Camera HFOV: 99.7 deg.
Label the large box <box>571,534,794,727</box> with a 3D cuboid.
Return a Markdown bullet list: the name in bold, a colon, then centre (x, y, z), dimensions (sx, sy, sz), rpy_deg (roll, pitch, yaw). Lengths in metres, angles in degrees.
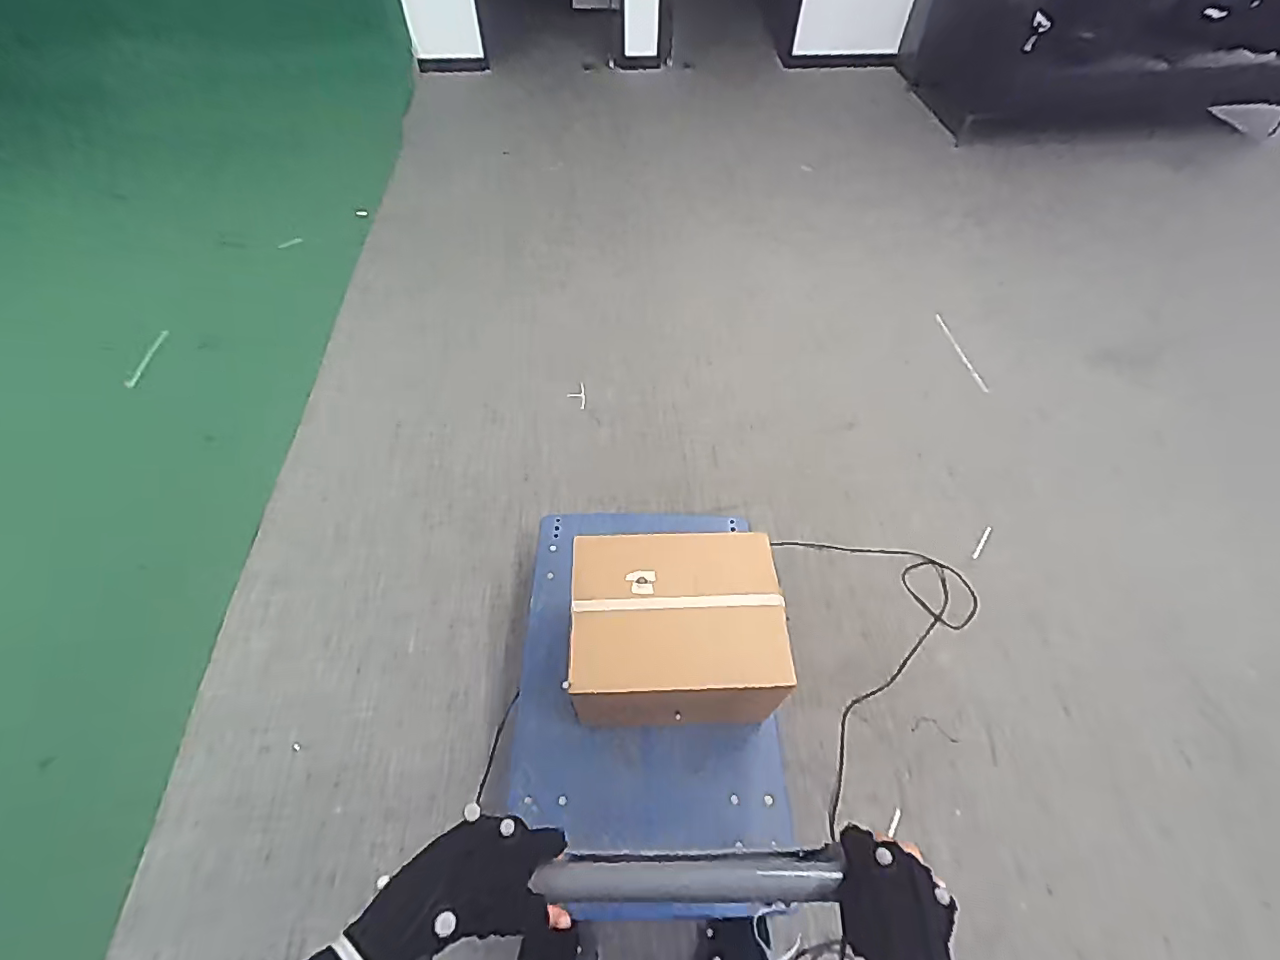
- **large box**: centre (0.073, 0.332, 1.162), dimensions (0.408, 0.320, 0.320), rpy_deg (-2, 54, -1)
